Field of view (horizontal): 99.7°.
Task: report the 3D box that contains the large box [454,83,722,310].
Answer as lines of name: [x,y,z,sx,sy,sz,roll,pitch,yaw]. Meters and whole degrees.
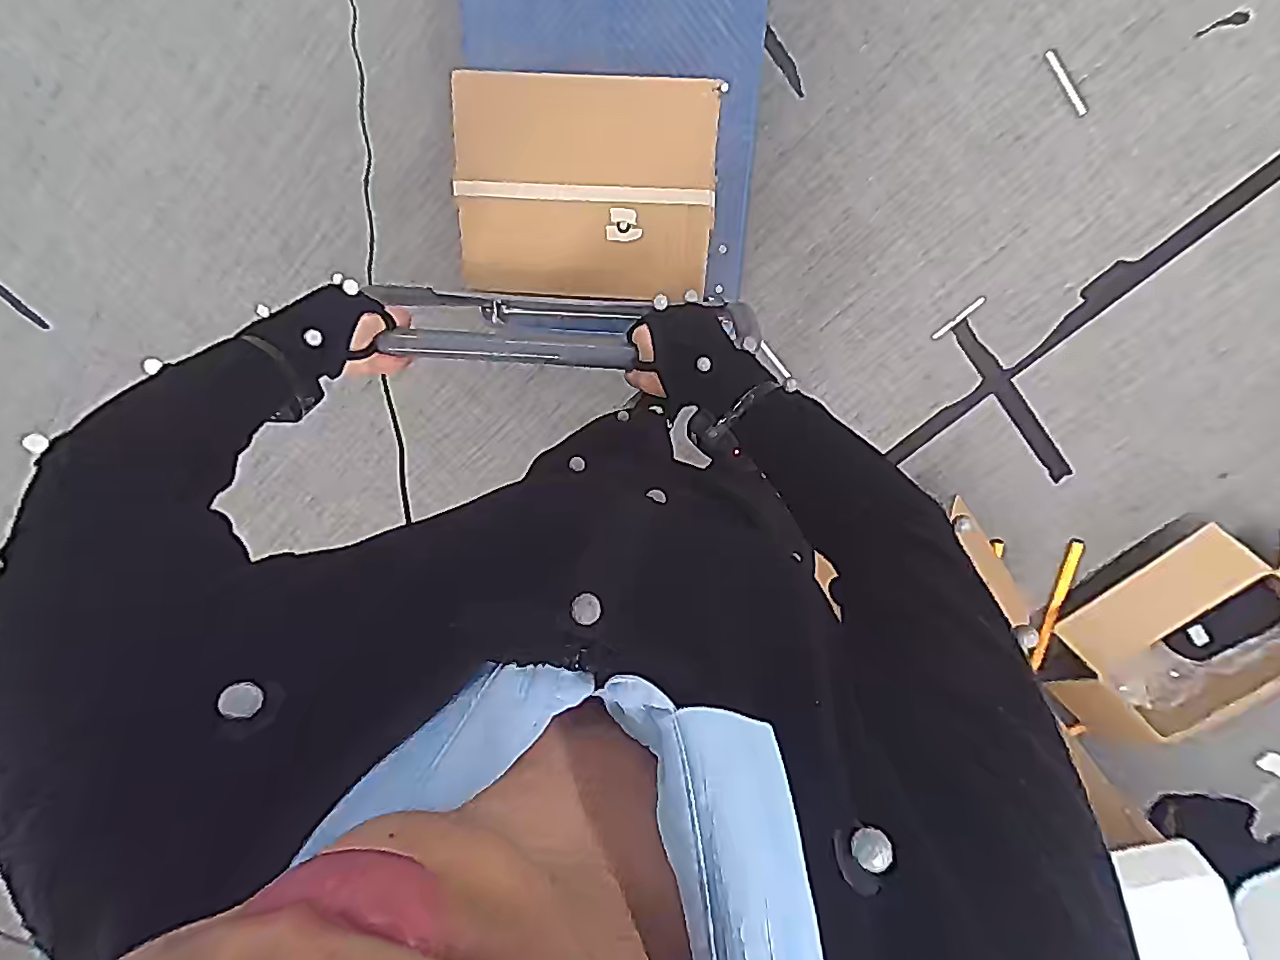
large box: [-0.077,-0.481,0.981,0.408,0.320,0.320,3,110,2]
